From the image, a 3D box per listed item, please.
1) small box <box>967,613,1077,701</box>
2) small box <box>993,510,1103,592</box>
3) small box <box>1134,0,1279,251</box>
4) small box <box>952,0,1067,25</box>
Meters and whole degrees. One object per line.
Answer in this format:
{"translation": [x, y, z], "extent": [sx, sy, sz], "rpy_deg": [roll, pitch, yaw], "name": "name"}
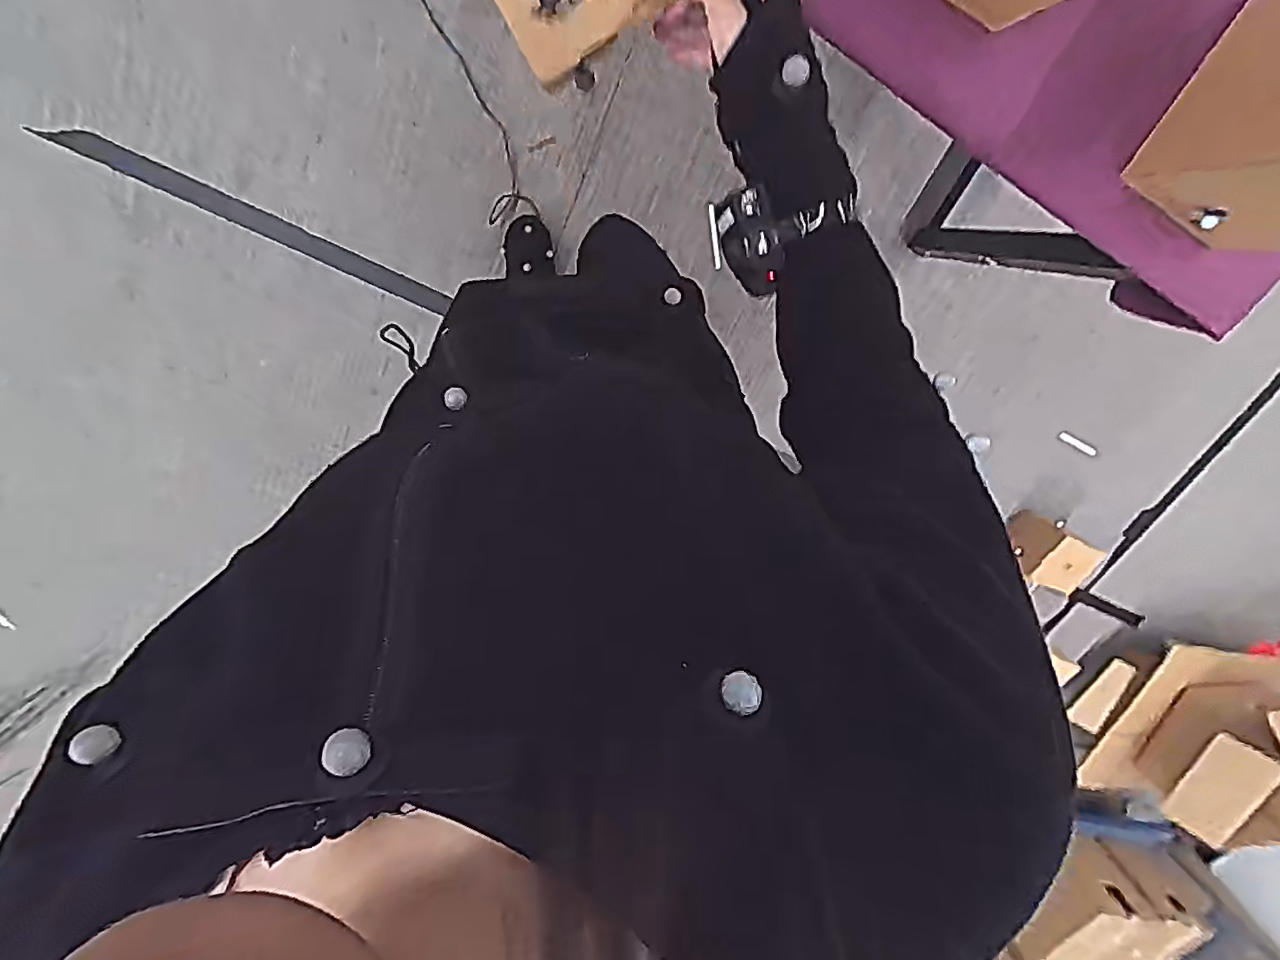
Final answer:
{"translation": [1.148, 0.531, 1.642], "extent": [0.179, 0.176, 0.168], "rpy_deg": [25, 112, -18], "name": "small box"}
{"translation": [1.255, 0.214, 1.679], "extent": [0.179, 0.176, 0.168], "rpy_deg": [20, 114, -17], "name": "small box"}
{"translation": [0.643, -0.335, 0.508], "extent": [0.168, 0.176, 0.179], "rpy_deg": [22, 112, -15], "name": "small box"}
{"translation": [0.313, -0.491, 0.395], "extent": [0.168, 0.176, 0.179], "rpy_deg": [18, 114, -14], "name": "small box"}
